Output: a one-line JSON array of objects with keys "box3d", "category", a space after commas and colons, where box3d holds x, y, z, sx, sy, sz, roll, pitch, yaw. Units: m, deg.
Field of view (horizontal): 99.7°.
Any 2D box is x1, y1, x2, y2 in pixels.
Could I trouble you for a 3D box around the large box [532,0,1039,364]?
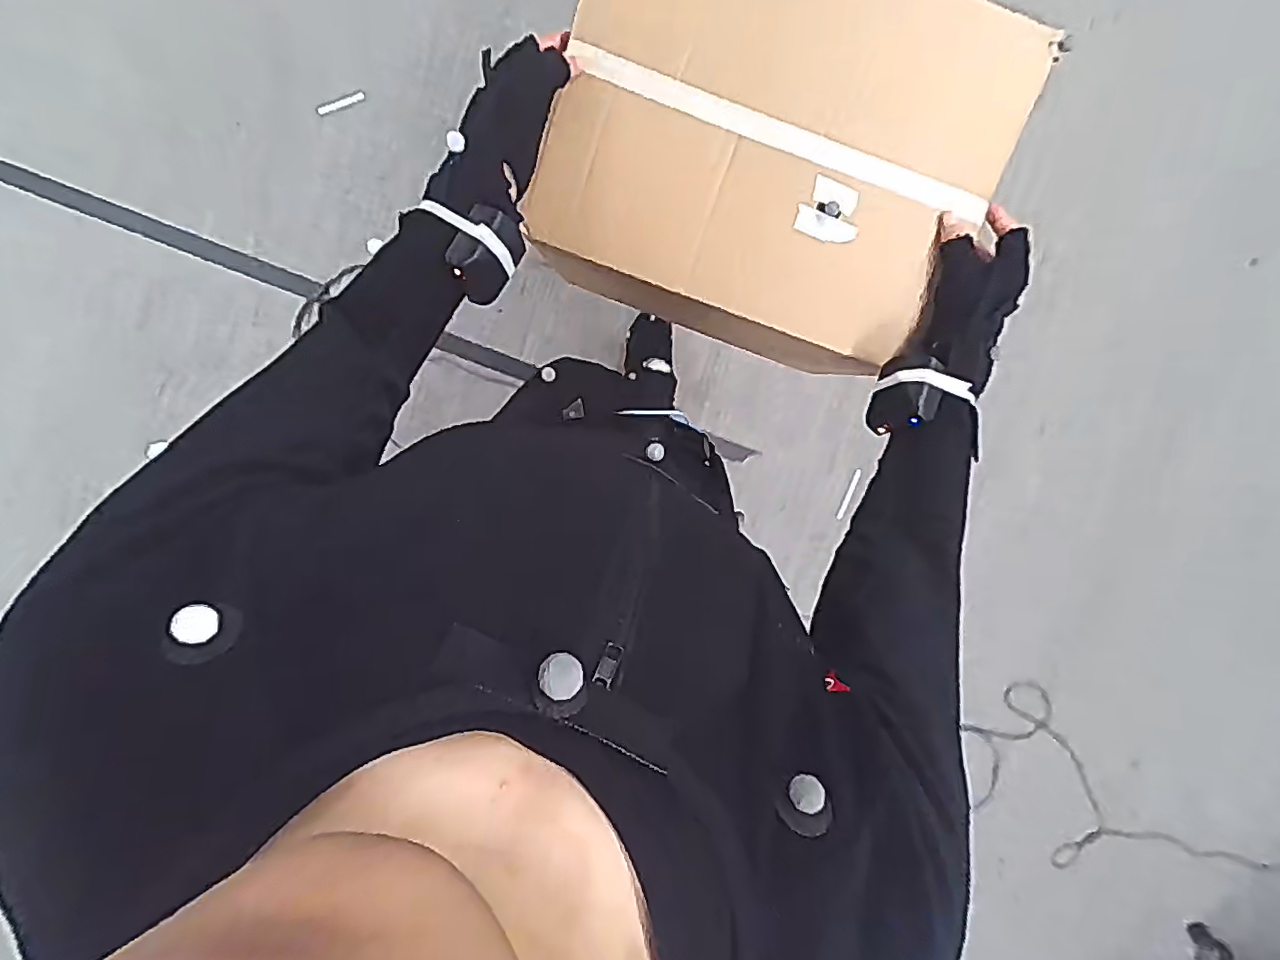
[{"box3d": [0.126, -0.349, 0.651, 0.408, 0.320, 0.320, 19, 102, -4], "category": "large box"}]
